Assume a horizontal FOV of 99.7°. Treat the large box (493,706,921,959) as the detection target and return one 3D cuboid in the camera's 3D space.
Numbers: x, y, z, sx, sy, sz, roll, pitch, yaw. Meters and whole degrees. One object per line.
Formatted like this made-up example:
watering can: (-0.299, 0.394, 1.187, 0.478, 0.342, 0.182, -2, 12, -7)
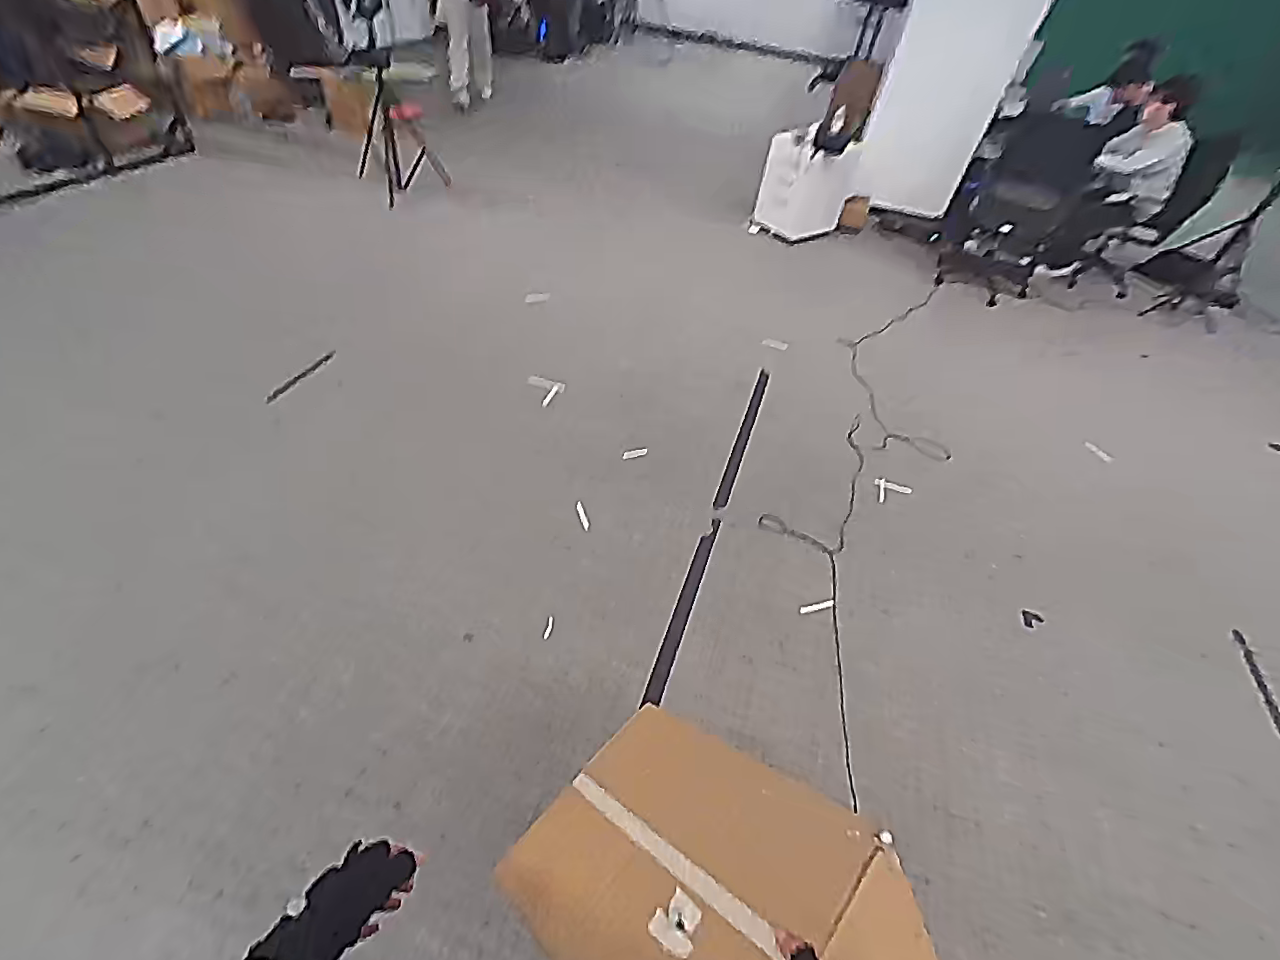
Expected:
large box: (0.085, 0.576, 0.701, 0.320, 0.320, 0.408, -38, 25, -32)
